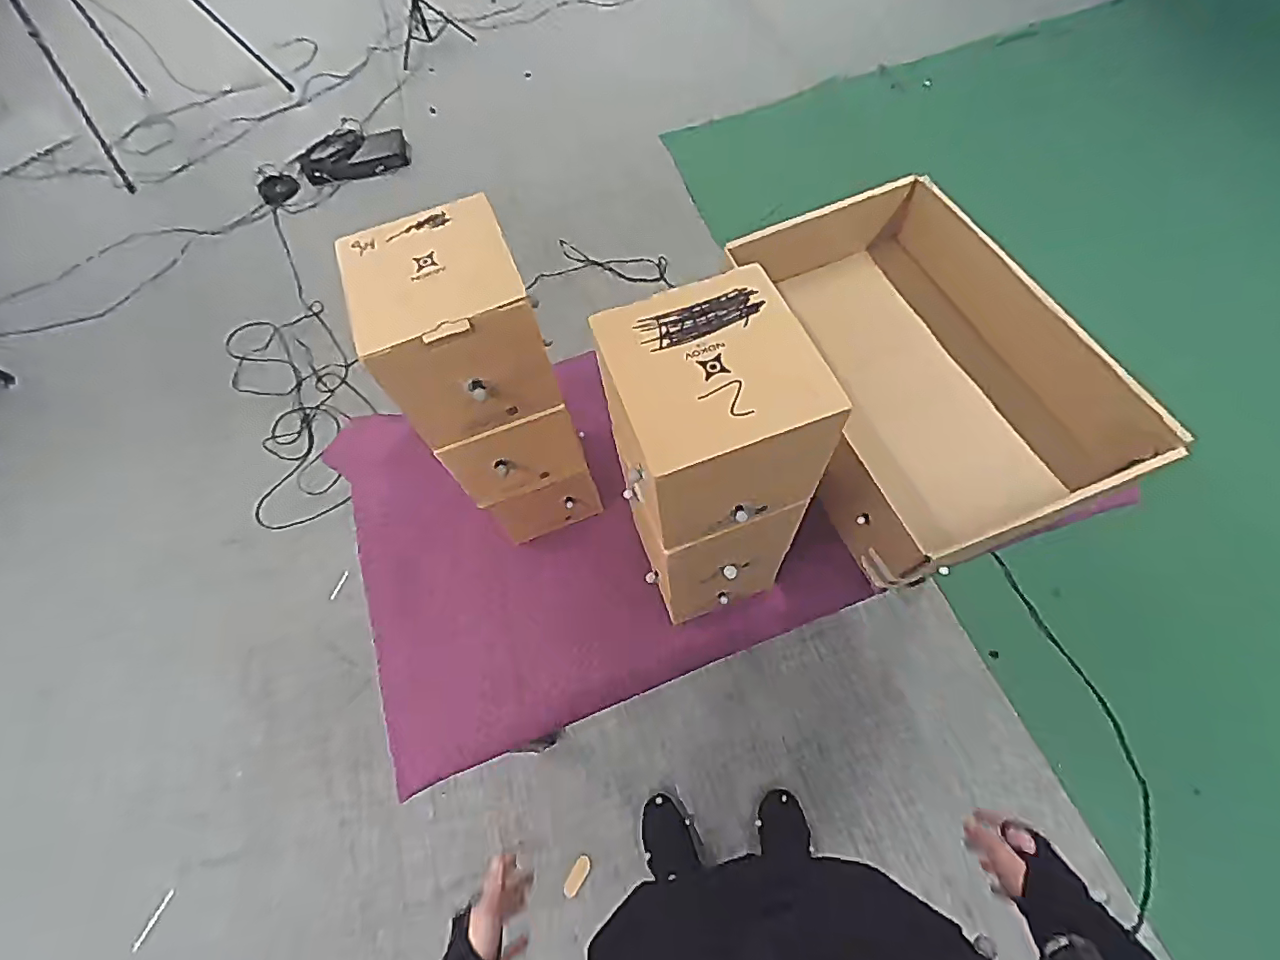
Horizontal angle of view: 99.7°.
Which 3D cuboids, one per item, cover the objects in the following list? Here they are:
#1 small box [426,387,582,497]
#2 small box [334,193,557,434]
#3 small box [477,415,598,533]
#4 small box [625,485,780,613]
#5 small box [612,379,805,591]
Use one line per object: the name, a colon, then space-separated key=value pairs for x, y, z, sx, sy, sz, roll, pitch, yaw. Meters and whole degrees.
small box: x=-0.191 y=-0.095 z=0.747 sx=0.168 sy=0.176 sz=0.179 roll=-21 pitch=63 yaw=-5
small box: x=-0.205 y=-0.171 z=0.603 sx=0.168 sy=0.176 sz=0.179 roll=-21 pitch=64 yaw=-6
small box: x=-0.178 y=-0.028 z=0.894 sx=0.168 sy=0.176 sz=0.179 roll=-20 pitch=64 yaw=-5
small box: x=0.089 y=0.086 z=0.809 sx=0.168 sy=0.176 sz=0.179 roll=-19 pitch=63 yaw=-5
small box: x=0.076 y=0.013 z=0.663 sx=0.168 sy=0.176 sz=0.179 roll=-20 pitch=64 yaw=-4
